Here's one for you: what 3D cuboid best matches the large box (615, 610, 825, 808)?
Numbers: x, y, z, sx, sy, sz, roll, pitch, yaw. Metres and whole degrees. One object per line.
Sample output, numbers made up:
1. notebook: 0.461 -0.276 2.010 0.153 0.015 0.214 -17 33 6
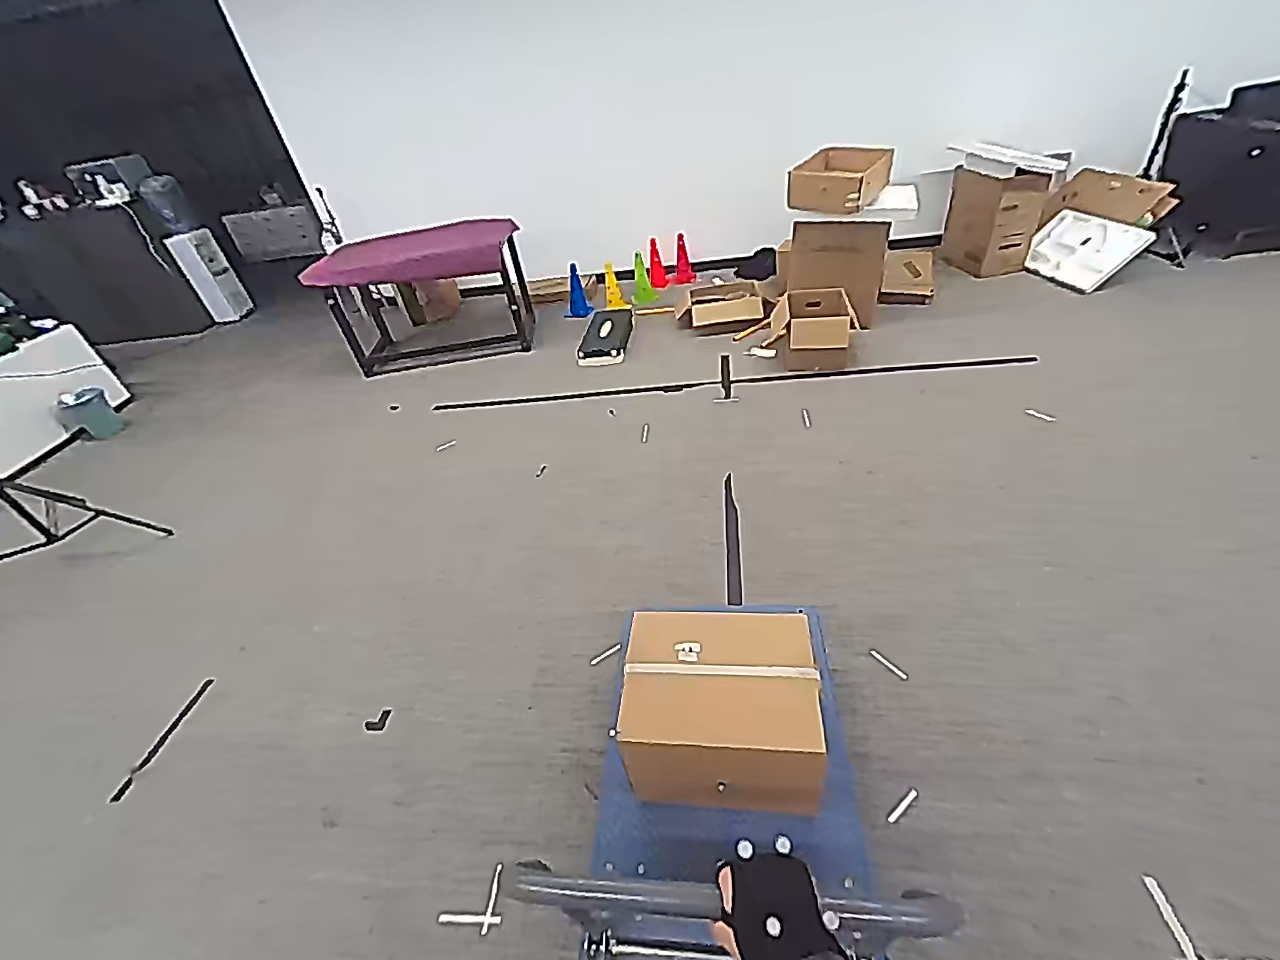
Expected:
1. large box: 0.184 0.519 1.232 0.408 0.320 0.320 -3 38 11
